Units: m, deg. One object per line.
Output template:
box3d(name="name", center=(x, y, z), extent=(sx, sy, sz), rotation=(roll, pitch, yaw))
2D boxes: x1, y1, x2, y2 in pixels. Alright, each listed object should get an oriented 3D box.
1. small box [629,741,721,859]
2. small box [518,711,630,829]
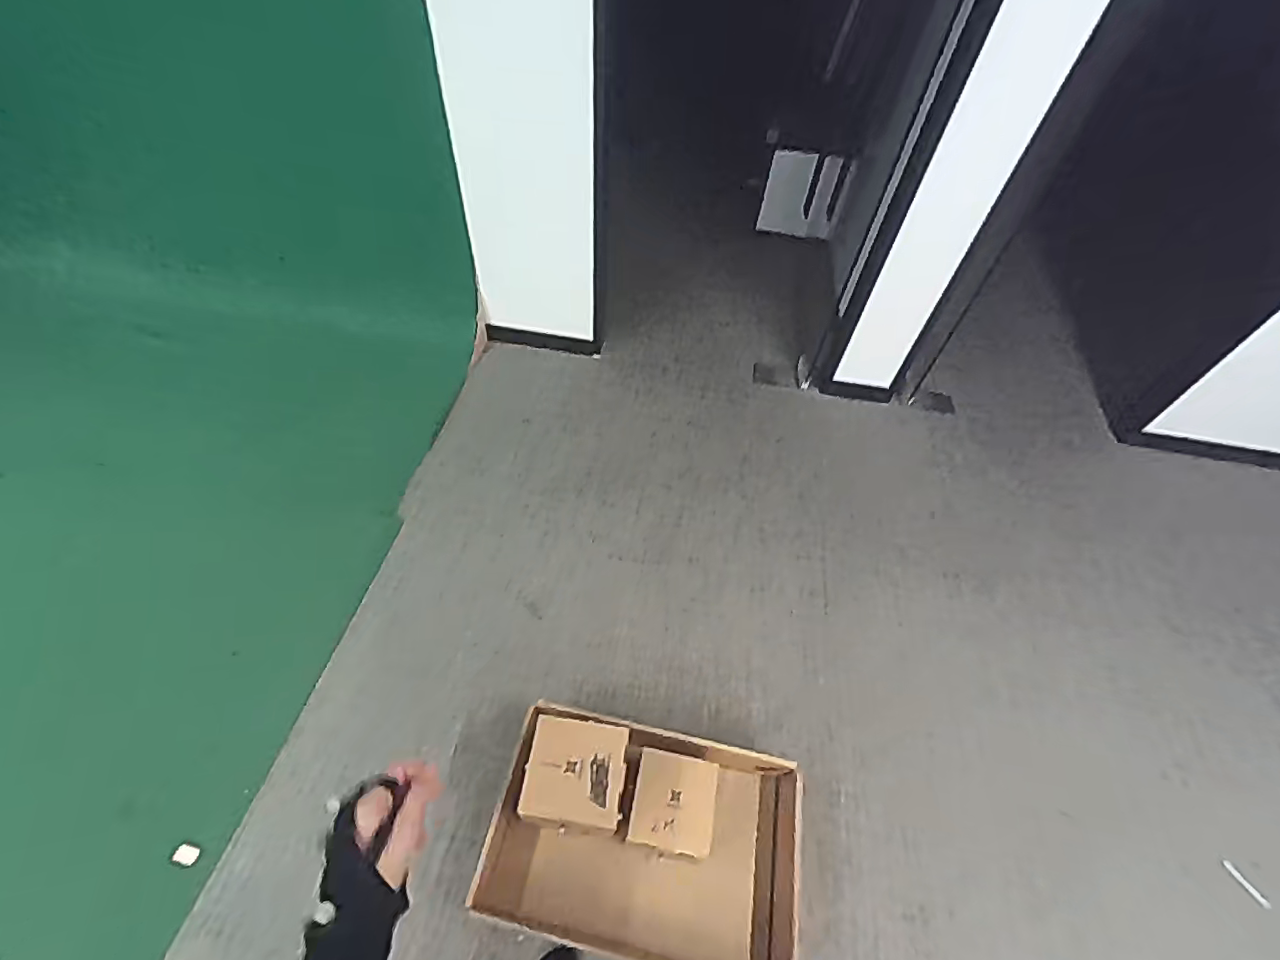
box3d(name="small box", center=(0.071, 0.691, 1.164), extent=(0.168, 0.176, 0.179), rotation=(11, 53, 6))
box3d(name="small box", center=(-0.120, 0.563, 1.043), extent=(0.179, 0.176, 0.168), rotation=(8, 53, 3))
